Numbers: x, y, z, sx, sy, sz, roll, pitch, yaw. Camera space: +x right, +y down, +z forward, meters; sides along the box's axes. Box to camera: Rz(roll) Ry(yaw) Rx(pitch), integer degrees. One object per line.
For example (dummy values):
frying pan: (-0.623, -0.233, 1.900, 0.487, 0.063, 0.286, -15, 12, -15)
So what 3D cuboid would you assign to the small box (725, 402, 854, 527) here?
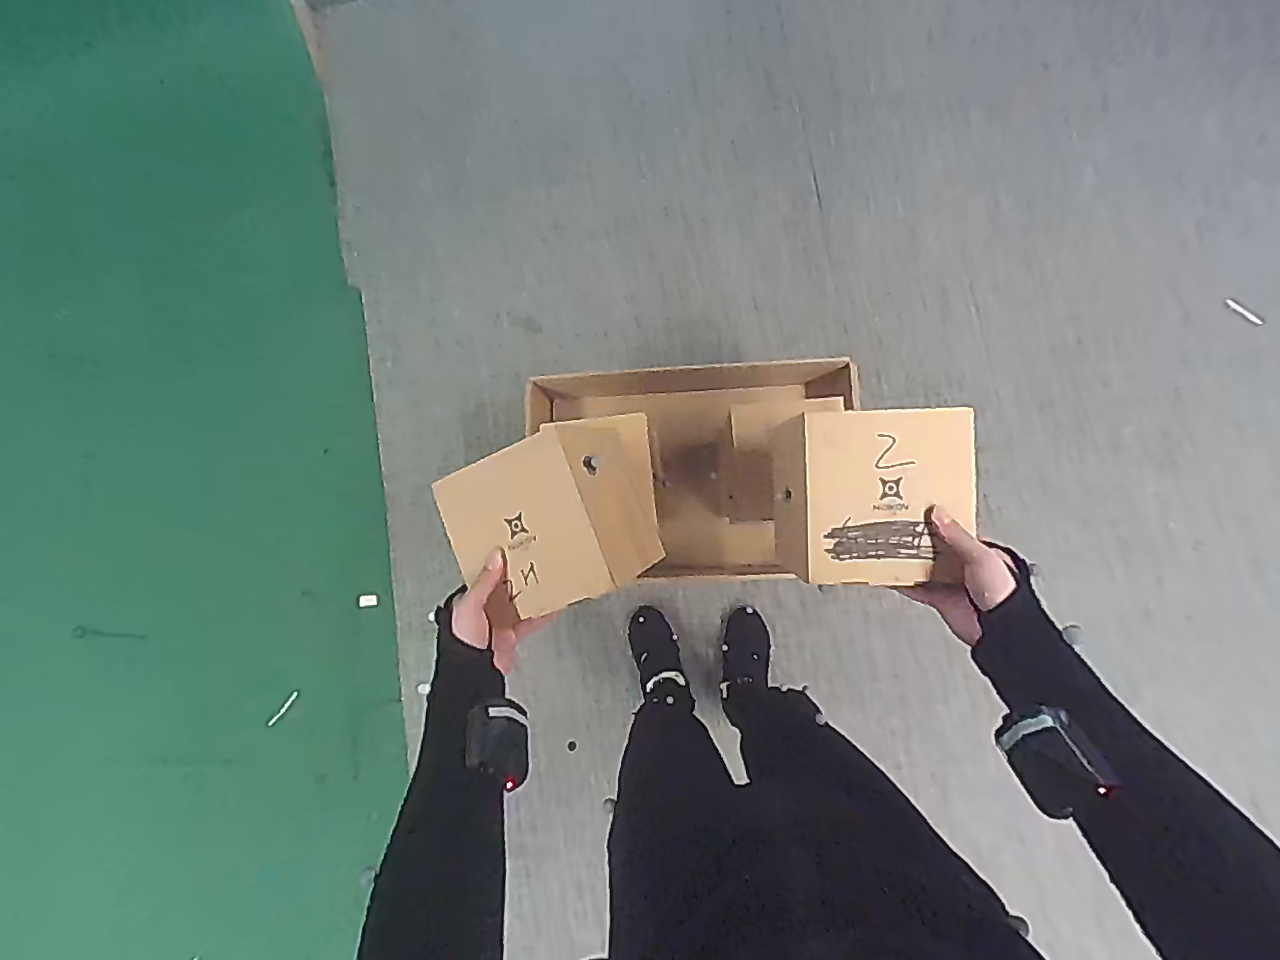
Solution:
small box: (0.225, -0.015, 0.850, 0.168, 0.176, 0.179, -2, 83, 4)

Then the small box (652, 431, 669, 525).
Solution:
small box: (-0.039, 0.009, 1.038, 0.179, 0.176, 0.168, -5, 83, 4)

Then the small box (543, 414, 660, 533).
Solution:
small box: (-0.057, 0.002, 0.875, 0.168, 0.176, 0.179, -5, 84, 4)

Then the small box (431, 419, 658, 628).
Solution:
small box: (-0.098, 0.045, 0.620, 0.168, 0.176, 0.179, -21, 86, 19)
